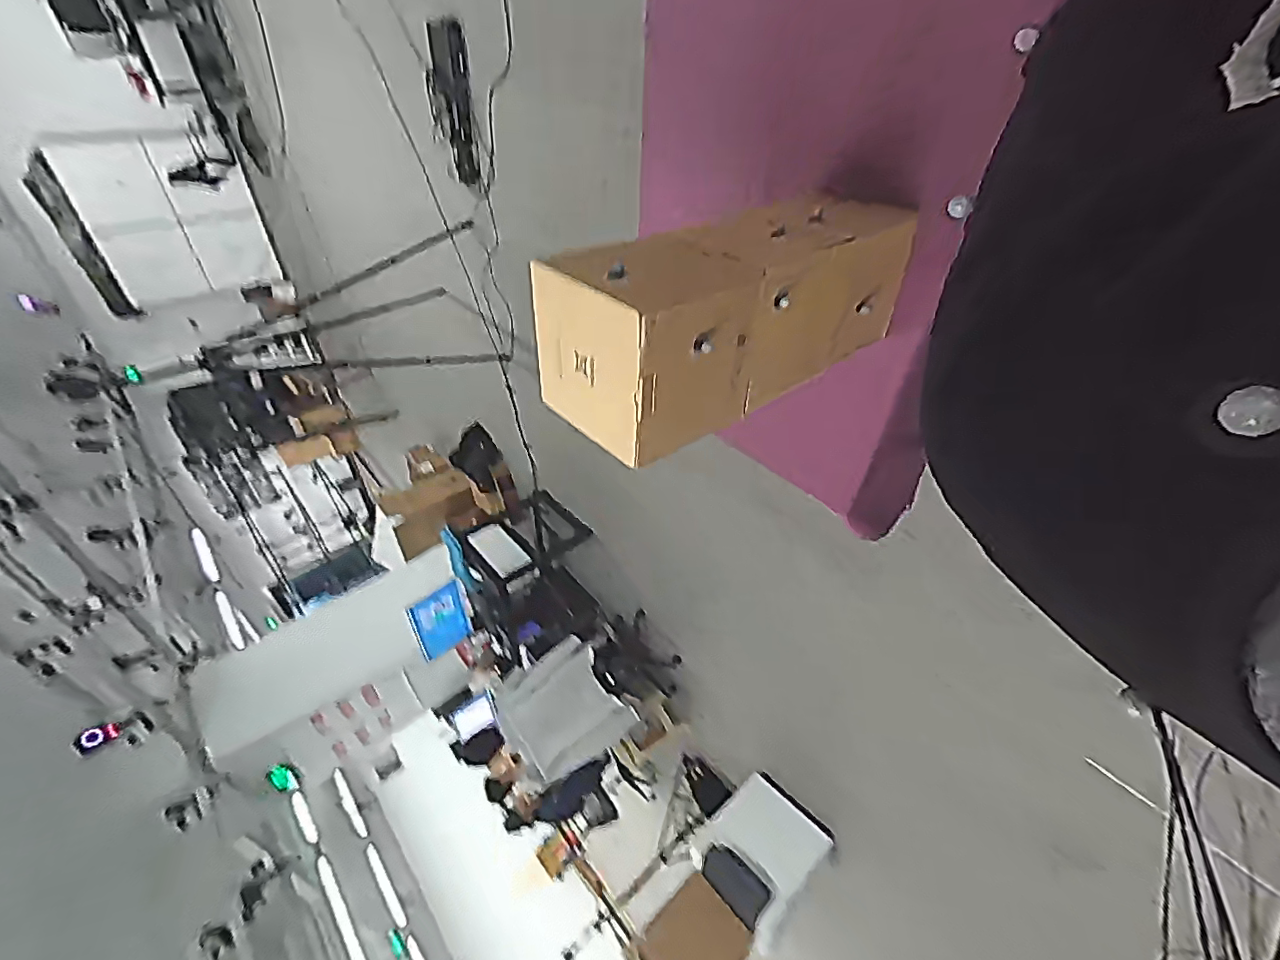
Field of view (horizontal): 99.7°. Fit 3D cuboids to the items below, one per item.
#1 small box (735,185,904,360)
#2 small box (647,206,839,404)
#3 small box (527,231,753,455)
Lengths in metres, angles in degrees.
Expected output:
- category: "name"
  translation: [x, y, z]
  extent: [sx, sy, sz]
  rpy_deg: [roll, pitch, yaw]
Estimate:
- category: "small box"
  translation: [0.241, -0.298, 0.765]
  extent: [0.168, 0.176, 0.179]
  rpy_deg: [35, 141, 35]
- category: "small box"
  translation: [0.123, -0.226, 0.680]
  extent: [0.168, 0.176, 0.179]
  rpy_deg: [36, 140, 36]
- category: "small box"
  translation: [-0.001, -0.161, 0.596]
  extent: [0.179, 0.176, 0.168]
  rpy_deg: [38, 141, 34]
